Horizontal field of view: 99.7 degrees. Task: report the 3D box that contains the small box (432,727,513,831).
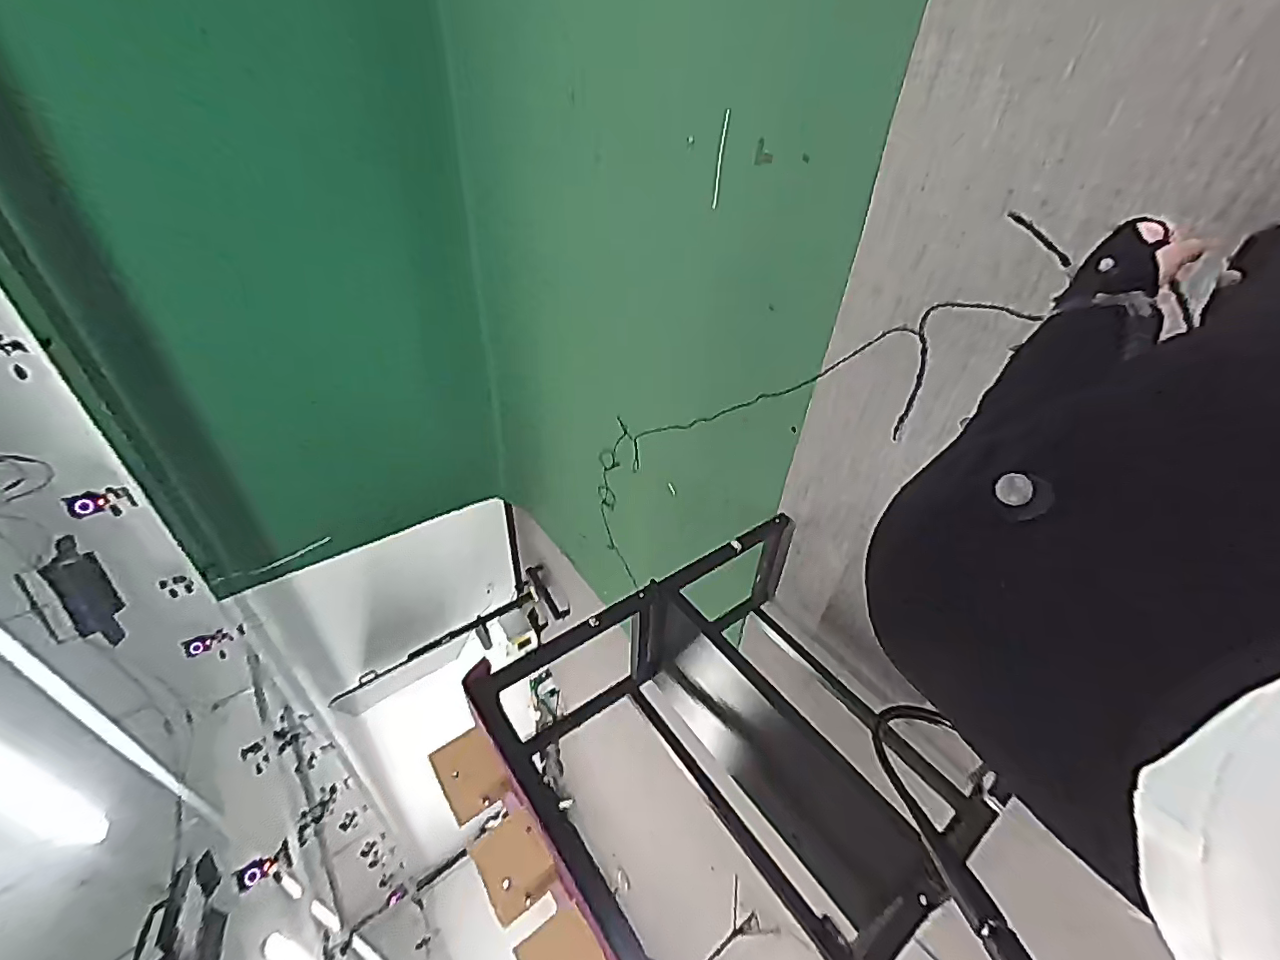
[{"bbox_3d":[-0.480,0.863,1.571,0.179,0.176,0.168,44,142,34],"label":"small box"}]
